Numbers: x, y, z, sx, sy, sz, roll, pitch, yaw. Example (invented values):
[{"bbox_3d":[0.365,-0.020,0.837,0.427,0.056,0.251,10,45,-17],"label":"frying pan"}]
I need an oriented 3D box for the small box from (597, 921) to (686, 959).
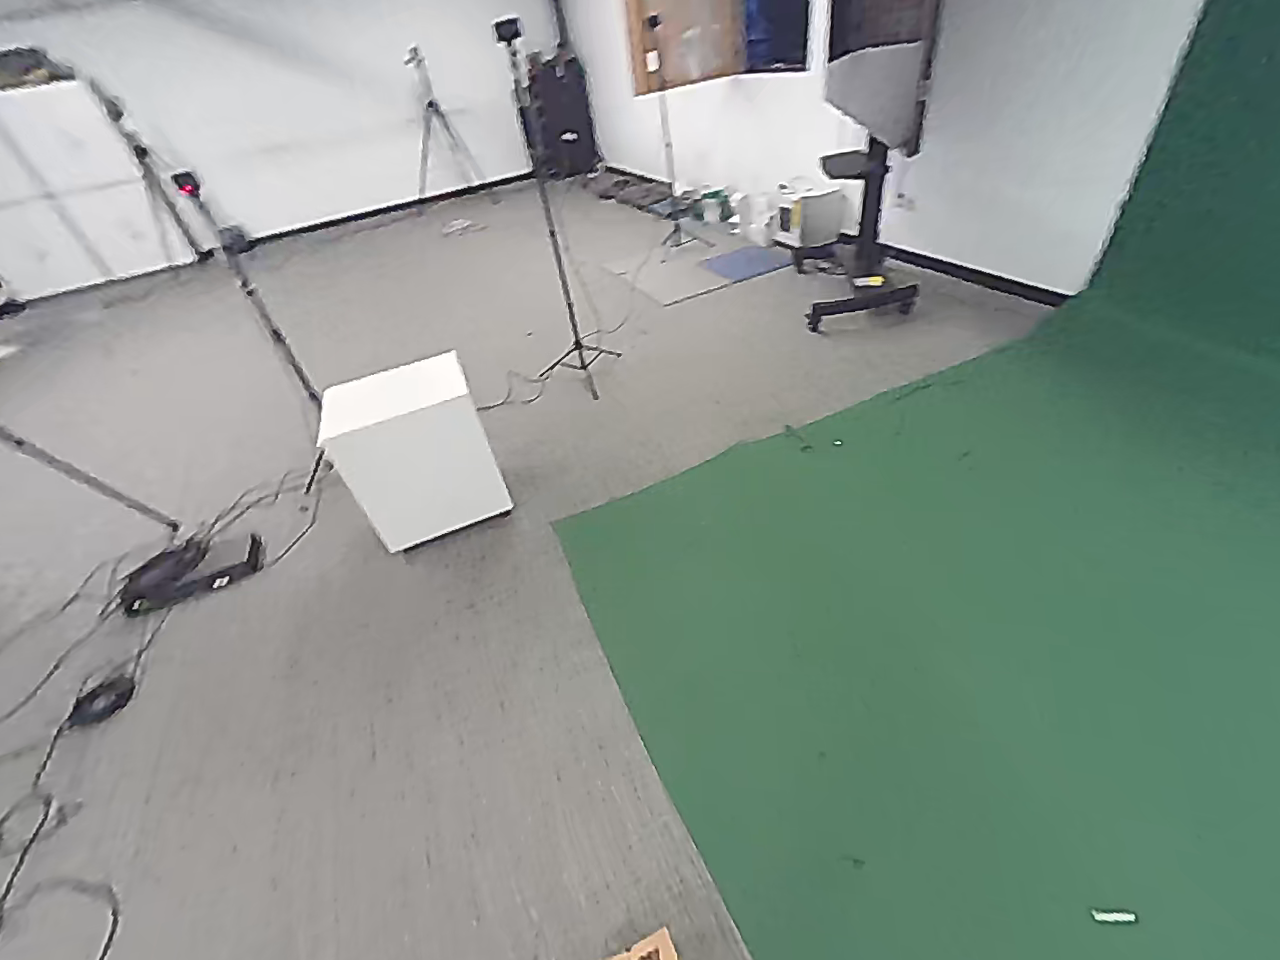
[{"bbox_3d":[0.026,0.996,1.027,0.168,0.176,0.179,-20,42,-12],"label":"small box"}]
